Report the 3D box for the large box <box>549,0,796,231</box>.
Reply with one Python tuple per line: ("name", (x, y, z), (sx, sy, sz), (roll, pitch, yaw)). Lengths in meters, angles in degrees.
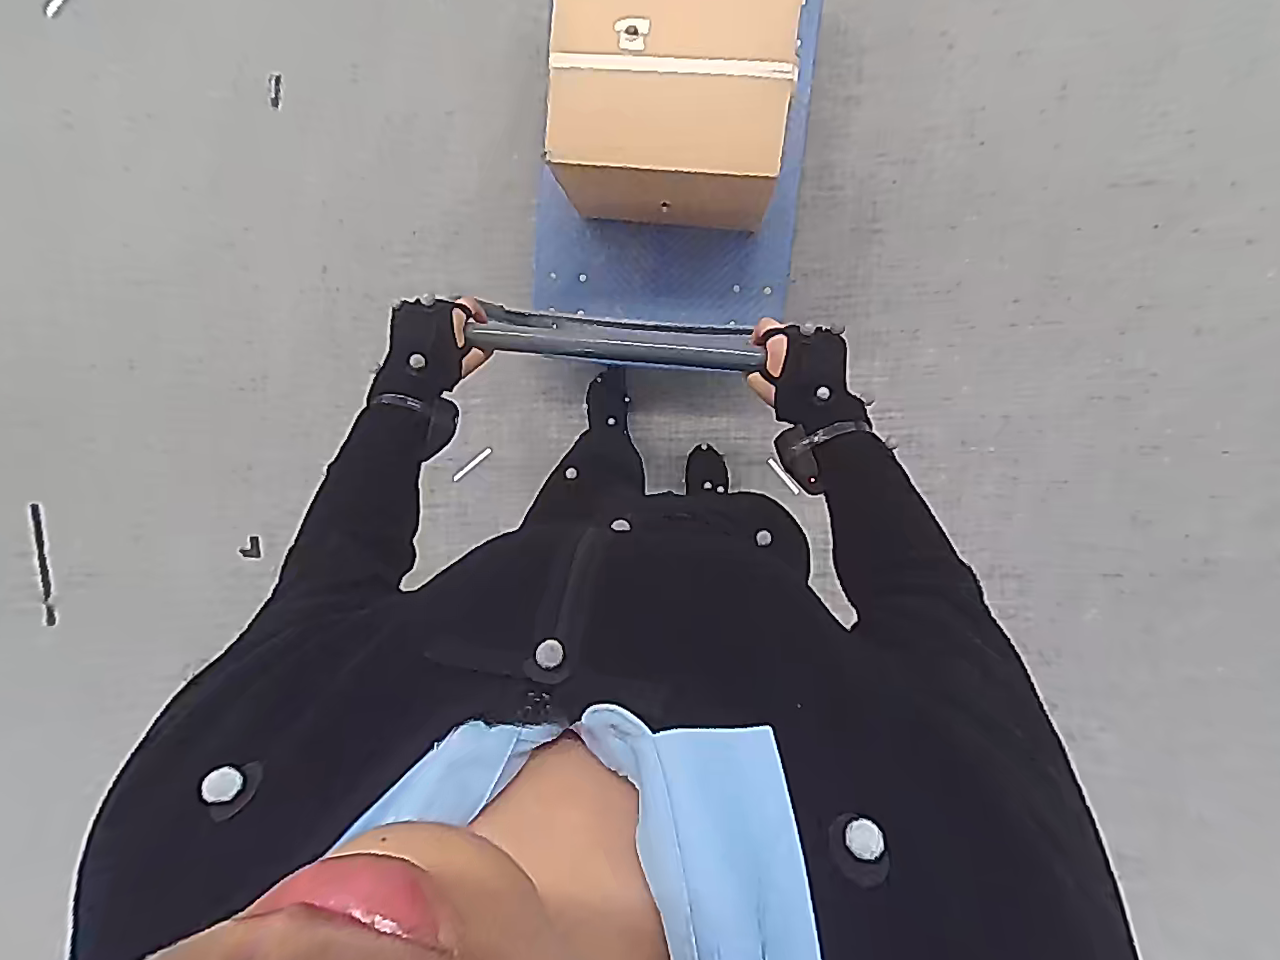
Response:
("large box", (0.066, -0.698, 1.057), (0.408, 0.320, 0.320), (7, 99, 6))
